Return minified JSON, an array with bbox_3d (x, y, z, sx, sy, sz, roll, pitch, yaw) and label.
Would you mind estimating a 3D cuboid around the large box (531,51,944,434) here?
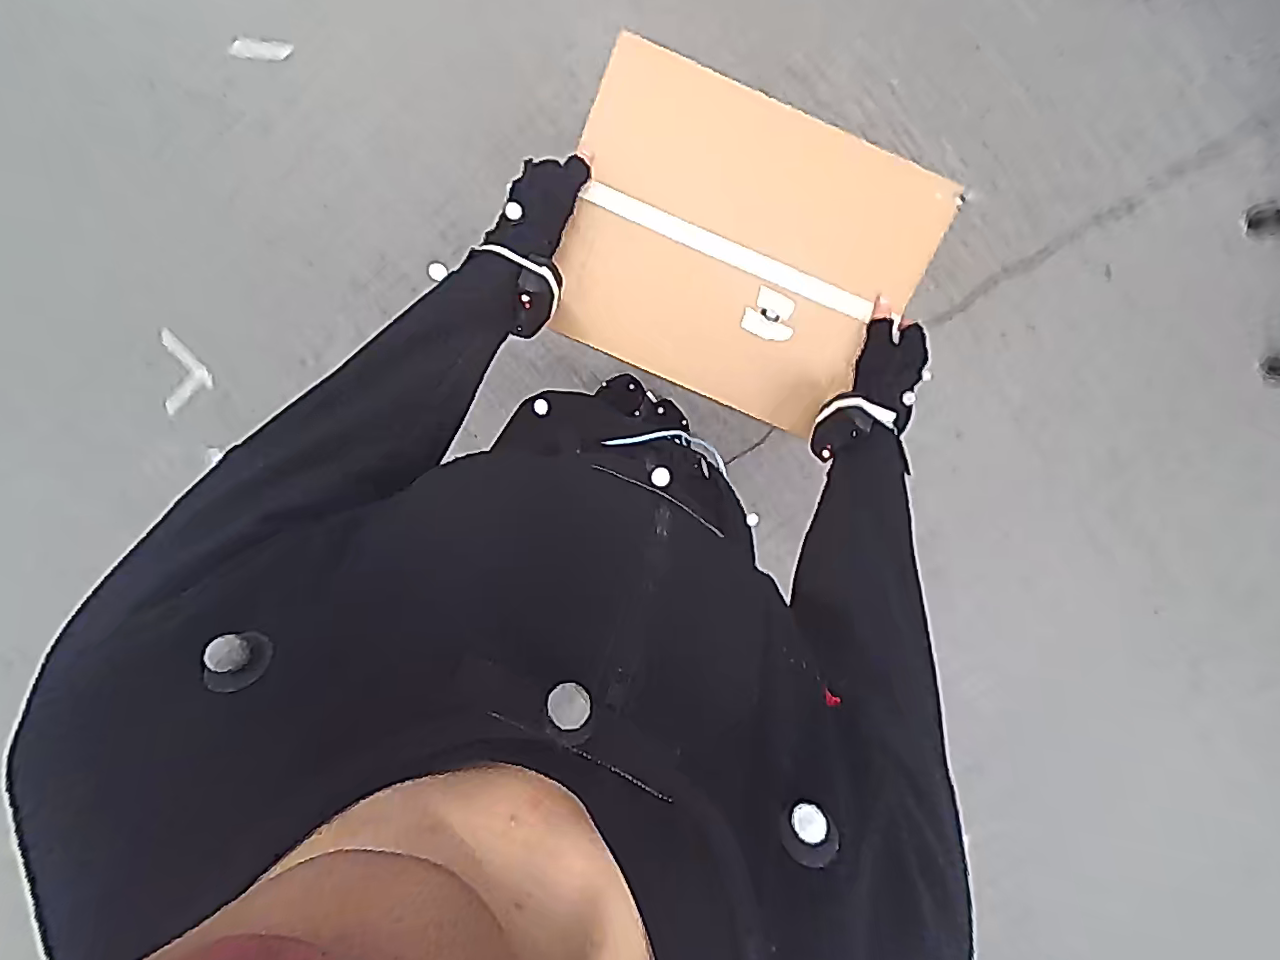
[{"bbox_3d":[0.107,-0.294,0.772,0.408,0.320,0.320,22,103,-3],"label":"large box"}]
